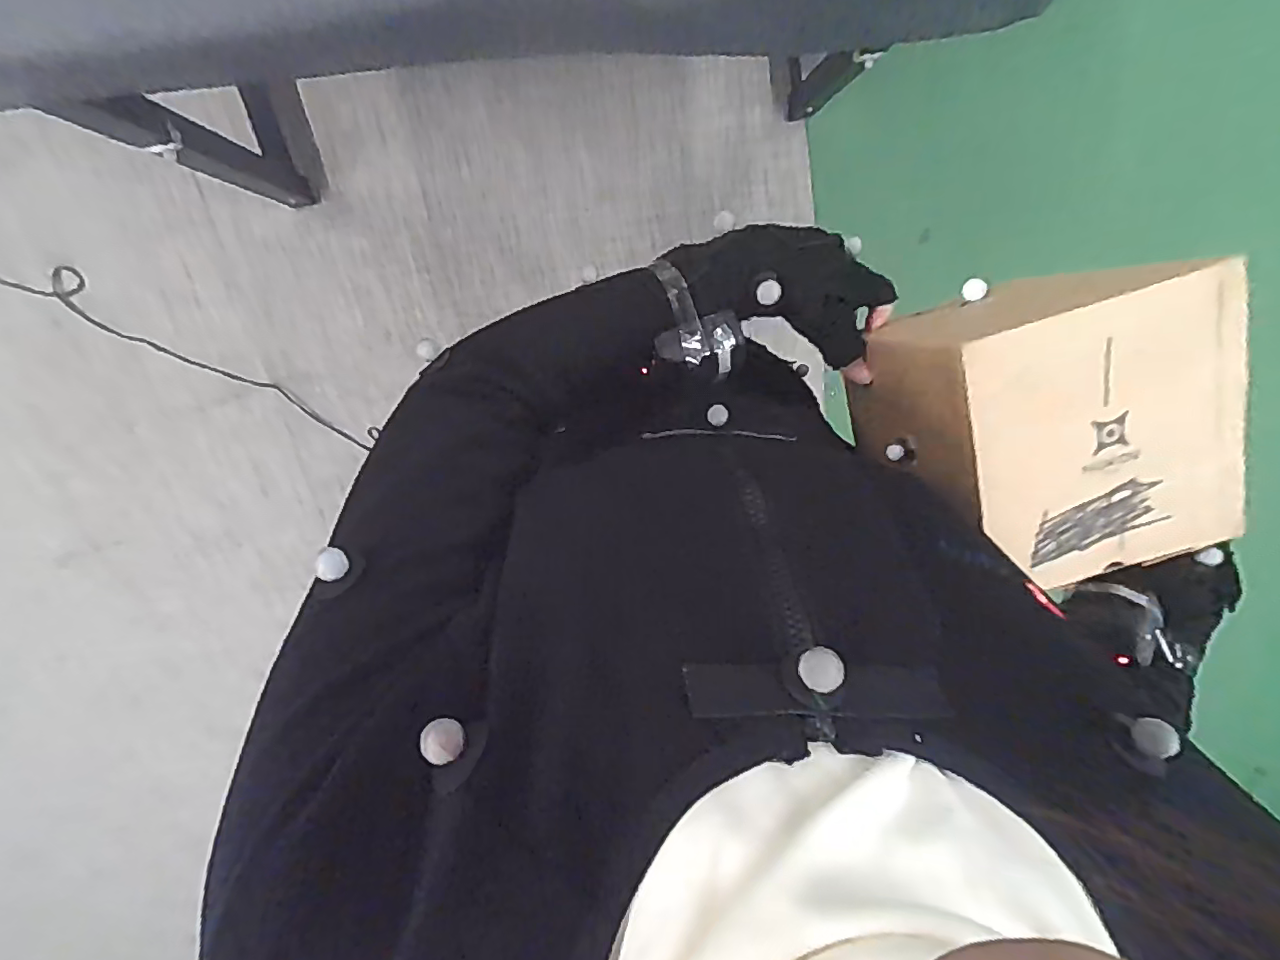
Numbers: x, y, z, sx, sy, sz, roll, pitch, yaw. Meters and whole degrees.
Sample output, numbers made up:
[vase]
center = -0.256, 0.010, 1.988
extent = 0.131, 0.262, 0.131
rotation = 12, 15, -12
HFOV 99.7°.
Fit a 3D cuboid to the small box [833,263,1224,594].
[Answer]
[small box]
center = 0.266, -0.046, 0.408
extent = 0.168, 0.176, 0.179
rotation = -16, 106, 0
